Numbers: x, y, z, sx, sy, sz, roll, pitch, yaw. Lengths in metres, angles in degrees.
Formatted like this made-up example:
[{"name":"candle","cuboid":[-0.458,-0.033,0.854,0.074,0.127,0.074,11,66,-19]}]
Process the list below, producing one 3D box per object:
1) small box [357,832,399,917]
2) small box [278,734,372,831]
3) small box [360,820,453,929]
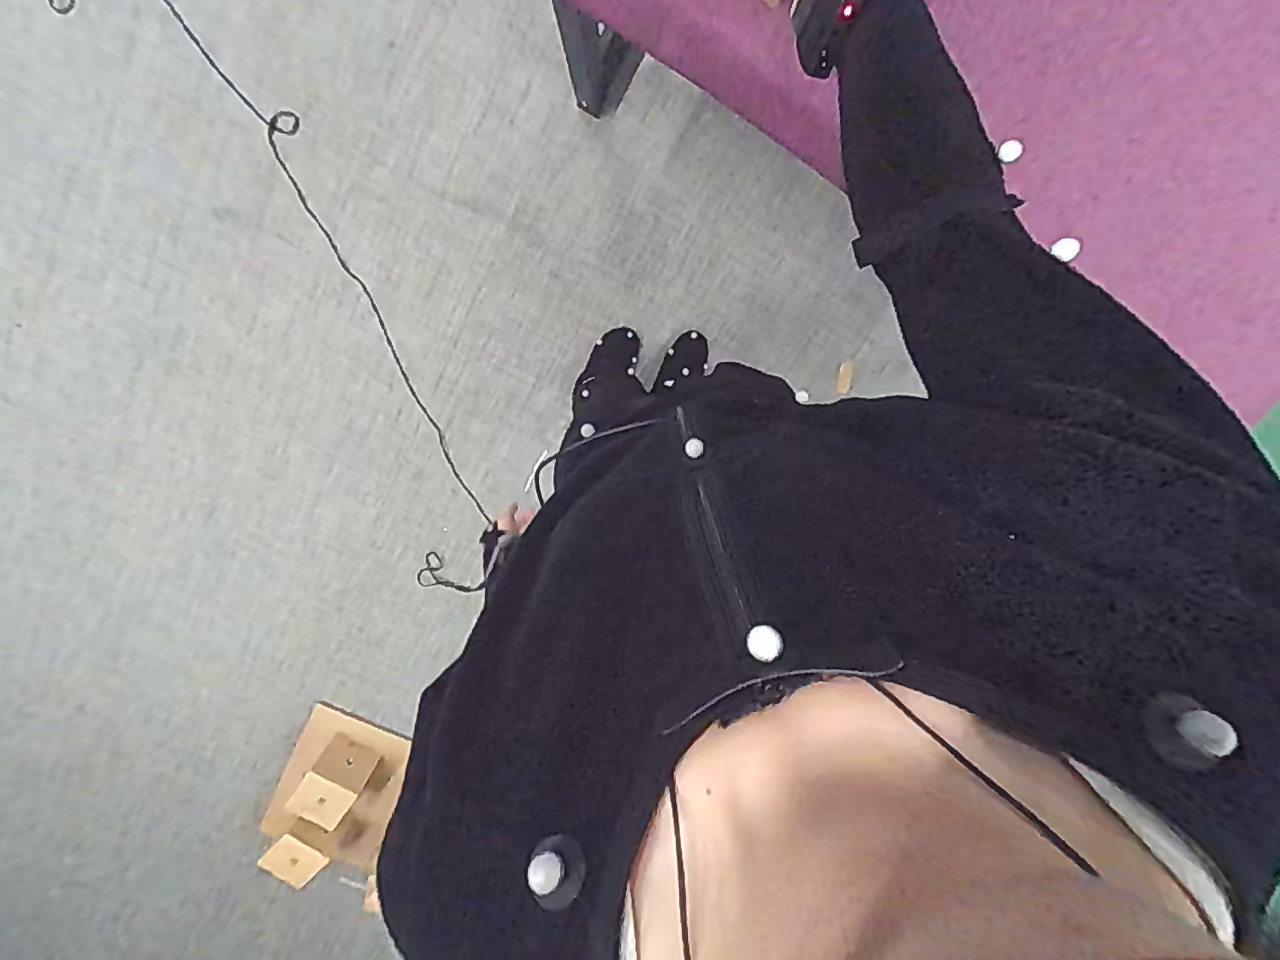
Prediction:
[{"name":"small box","cuboid":[-0.816,1.329,1.820,0.179,0.176,0.168,15,106,-4]},{"name":"small box","cuboid":[-0.976,0.941,1.695,0.168,0.176,0.179,36,103,-10]},{"name":"small box","cuboid":[-0.679,1.158,1.599,0.168,0.176,0.179,37,102,-10]}]
